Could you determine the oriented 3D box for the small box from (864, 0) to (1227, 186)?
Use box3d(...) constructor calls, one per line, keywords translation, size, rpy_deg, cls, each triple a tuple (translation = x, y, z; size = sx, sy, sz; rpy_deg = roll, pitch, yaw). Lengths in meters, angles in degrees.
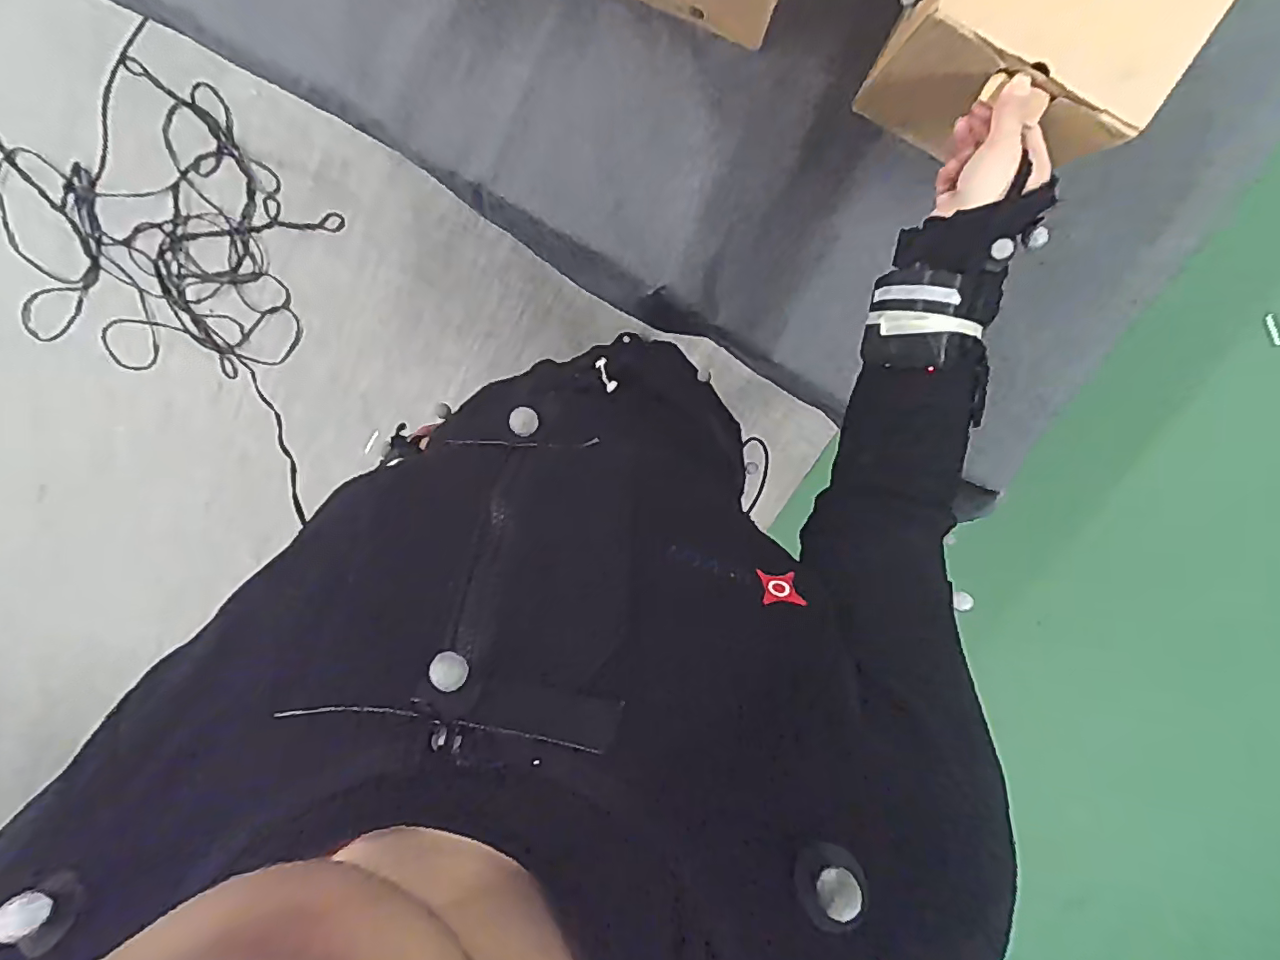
box3d(translation=(0.299, -0.358, 0.411), size=(0.168, 0.176, 0.179), rpy_deg=(25, 105, -6), cls="small box")
